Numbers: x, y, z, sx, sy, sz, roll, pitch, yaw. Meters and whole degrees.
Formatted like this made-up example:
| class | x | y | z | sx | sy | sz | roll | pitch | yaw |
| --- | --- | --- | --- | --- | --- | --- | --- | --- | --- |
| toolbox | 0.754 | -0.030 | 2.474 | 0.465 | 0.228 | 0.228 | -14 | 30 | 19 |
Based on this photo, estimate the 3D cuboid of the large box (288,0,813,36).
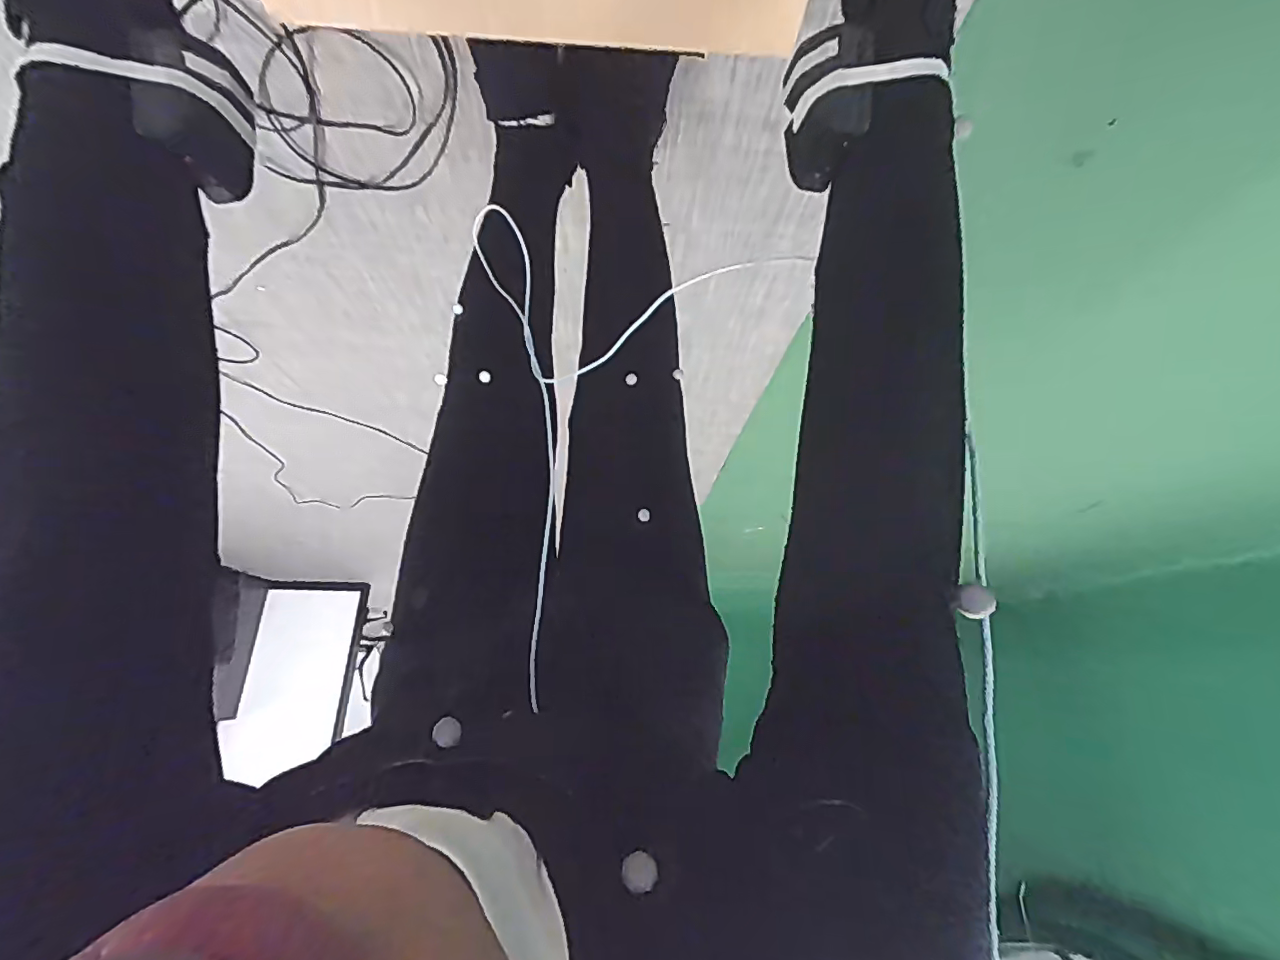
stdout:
| class | x | y | z | sx | sy | sz | roll | pitch | yaw |
| --- | --- | --- | --- | --- | --- | --- | --- | --- | --- |
| large box | -0.064 | -0.551 | 0.339 | 0.408 | 0.320 | 0.320 | 1 | 159 | -3 |
